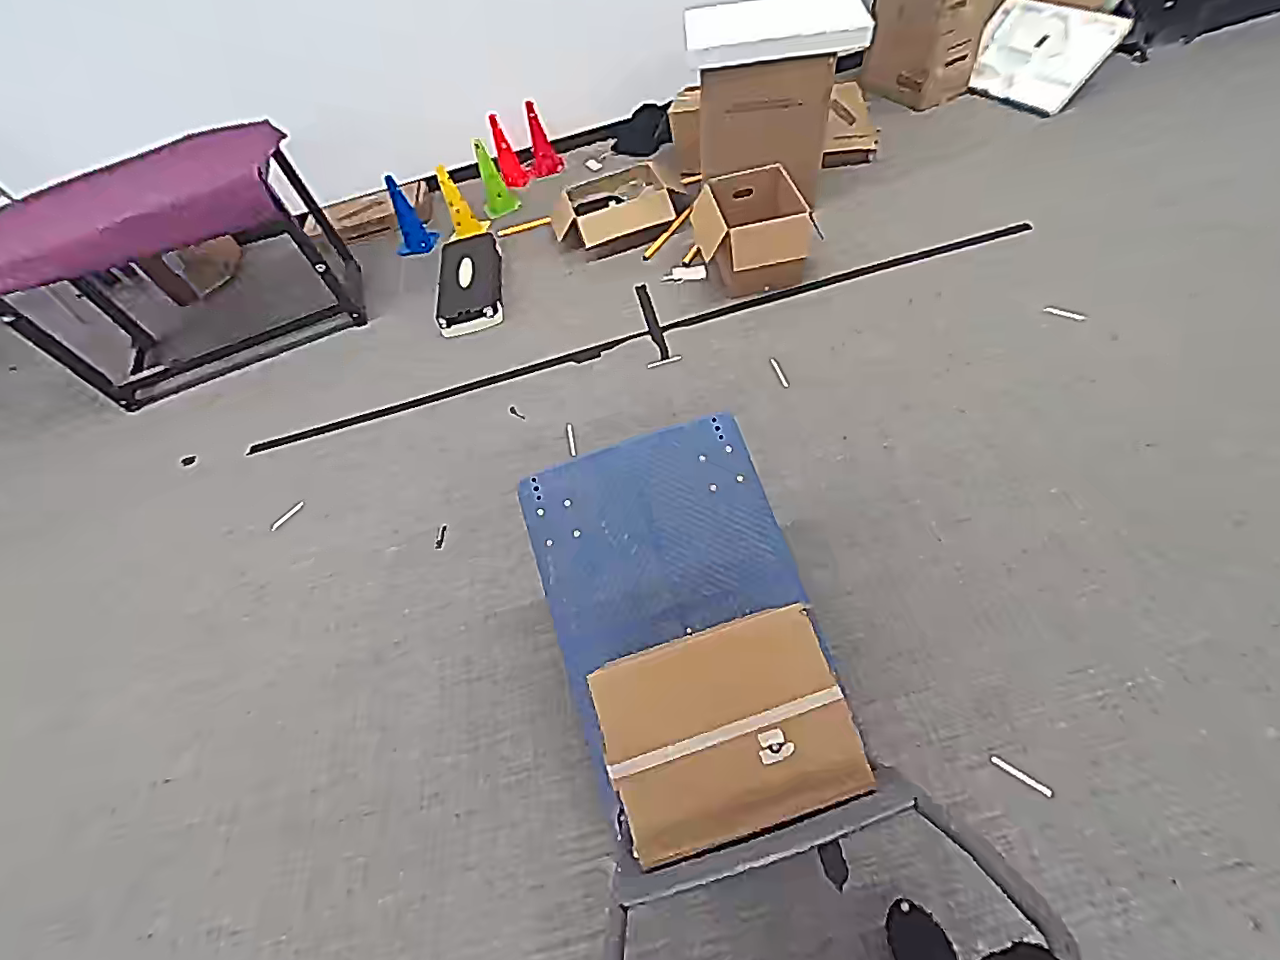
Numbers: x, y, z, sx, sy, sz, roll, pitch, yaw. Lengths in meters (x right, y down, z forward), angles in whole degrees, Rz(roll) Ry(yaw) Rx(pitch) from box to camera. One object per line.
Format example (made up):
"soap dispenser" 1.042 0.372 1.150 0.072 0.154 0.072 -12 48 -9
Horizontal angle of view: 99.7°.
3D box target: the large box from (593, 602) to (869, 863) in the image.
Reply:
"large box" 0.154 0.464 1.071 0.408 0.320 0.320 -19 75 -3
